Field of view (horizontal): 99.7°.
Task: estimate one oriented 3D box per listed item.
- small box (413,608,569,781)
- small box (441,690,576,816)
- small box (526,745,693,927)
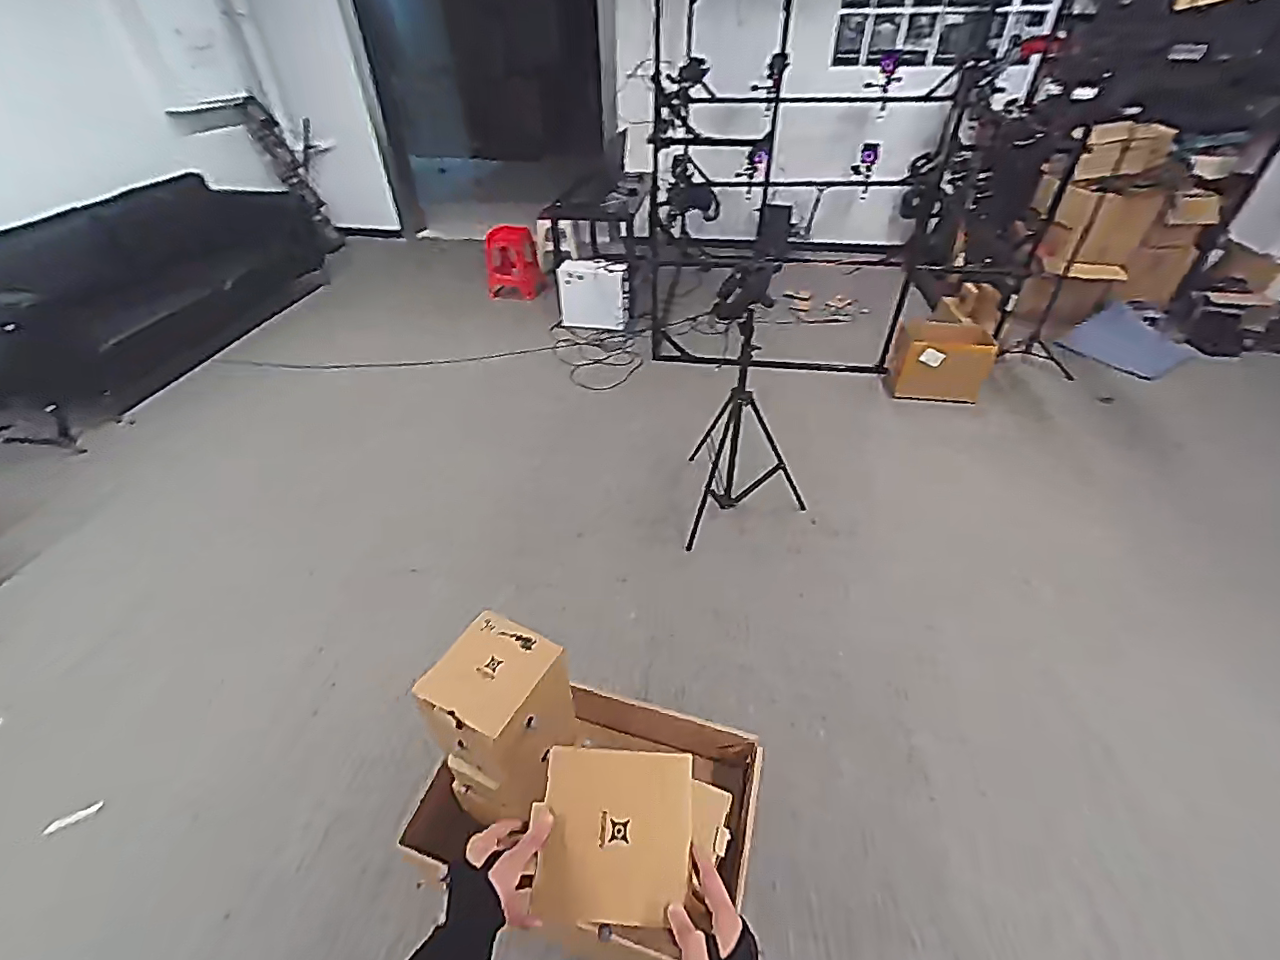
[{"bbox_3d":[-0.231,0.354,0.892,0.168,0.176,0.179,19,44,22],"label":"small box"},{"bbox_3d":[-0.230,0.478,1.000,0.168,0.176,0.179,16,41,20],"label":"small box"},{"bbox_3d":[-0.026,0.438,0.672,0.179,0.176,0.168,0,53,5],"label":"small box"}]
